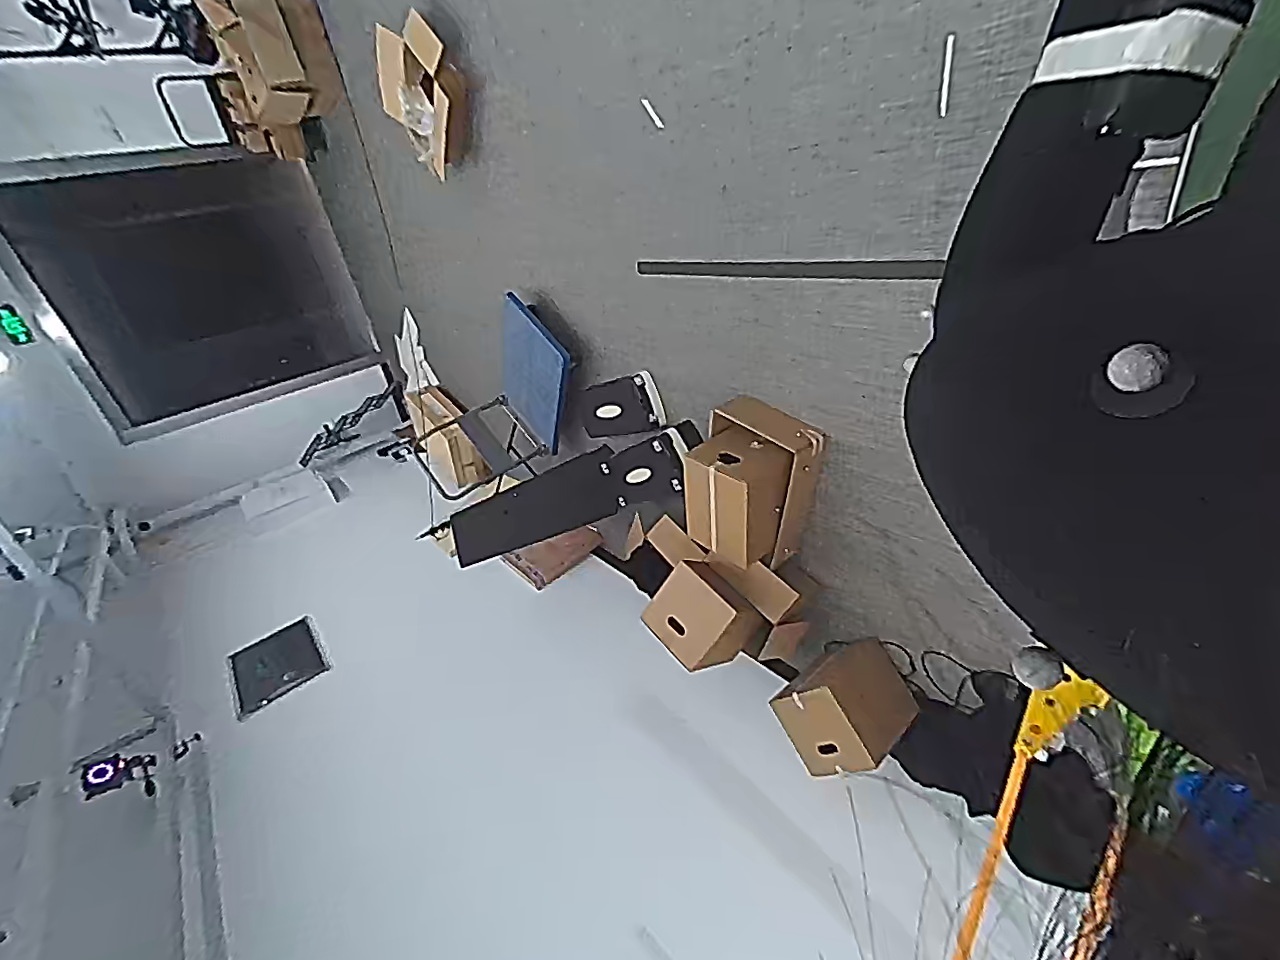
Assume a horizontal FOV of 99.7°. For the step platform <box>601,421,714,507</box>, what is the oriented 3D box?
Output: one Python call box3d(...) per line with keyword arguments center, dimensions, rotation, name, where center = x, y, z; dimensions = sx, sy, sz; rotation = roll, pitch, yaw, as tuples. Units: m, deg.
box3d(center=(0.059, -0.062, 2.696), dimensions=(0.684, 0.204, 0.286), rotation=(-20, 98, 59), name="step platform")
